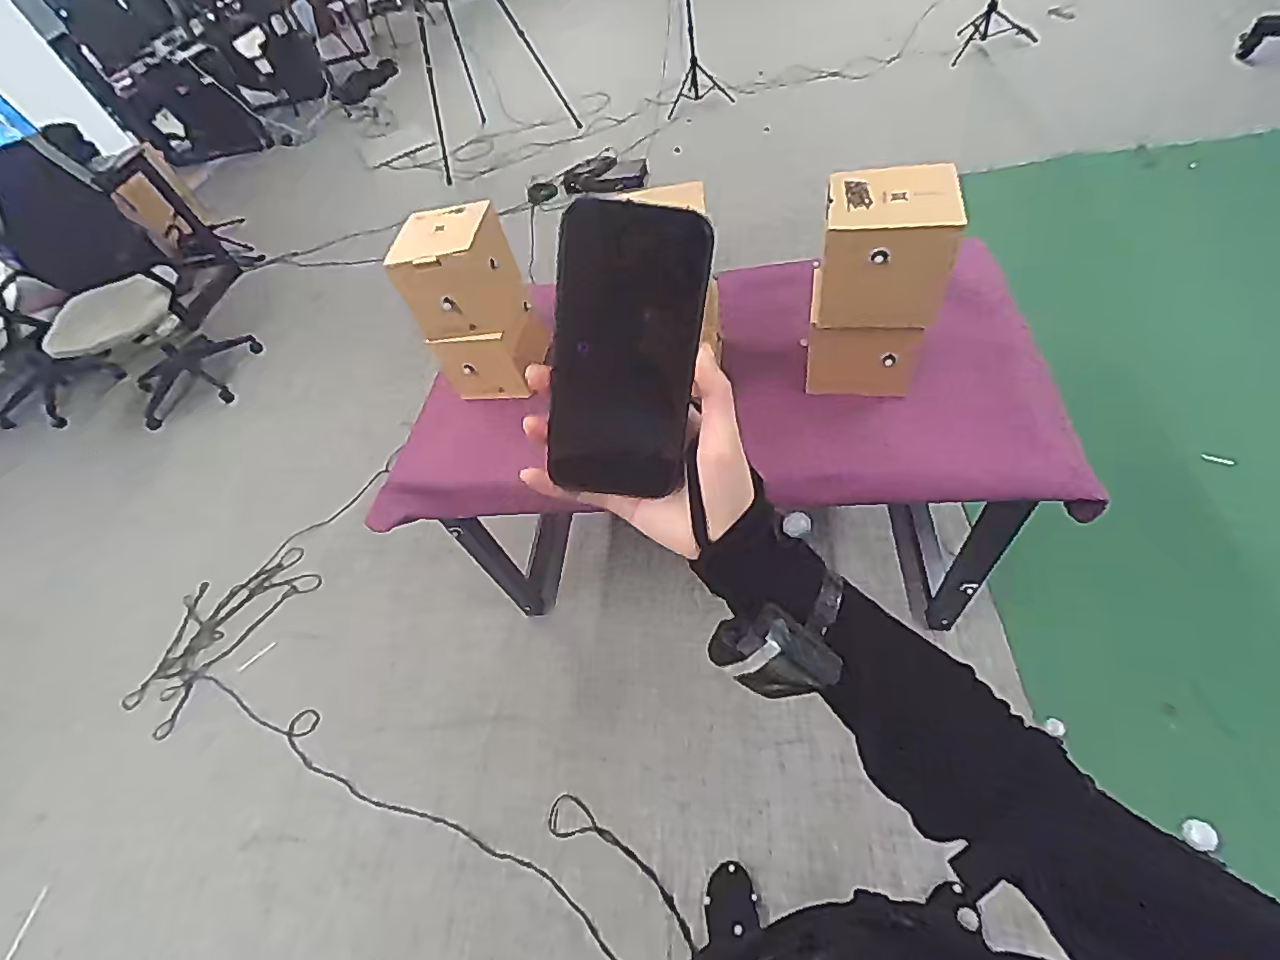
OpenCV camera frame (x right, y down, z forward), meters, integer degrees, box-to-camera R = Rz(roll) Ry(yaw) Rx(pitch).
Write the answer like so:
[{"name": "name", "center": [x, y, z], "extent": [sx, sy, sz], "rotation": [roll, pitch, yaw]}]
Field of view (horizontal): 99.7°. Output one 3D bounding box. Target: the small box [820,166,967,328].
[{"name": "small box", "center": [0.374, -0.349, 0.827], "extent": [0.179, 0.176, 0.168], "rotation": [5, 55, 16]}]

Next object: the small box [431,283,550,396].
[{"name": "small box", "center": [-0.307, -0.292, 1.156], "extent": [0.168, 0.176, 0.179], "rotation": [0, 54, 14]}]

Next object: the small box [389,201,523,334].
[{"name": "small box", "center": [-0.338, -0.396, 1.031], "extent": [0.168, 0.176, 0.179], "rotation": [-3, 54, 10]}]

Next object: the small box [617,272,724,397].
[{"name": "small box", "center": [0.069, -0.277, 1.052], "extent": [0.179, 0.176, 0.168], "rotation": [0, 54, 13]}]

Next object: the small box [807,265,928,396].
[{"name": "small box", "center": [0.399, -0.265, 0.966], "extent": [0.179, 0.176, 0.168], "rotation": [5, 55, 18]}]
